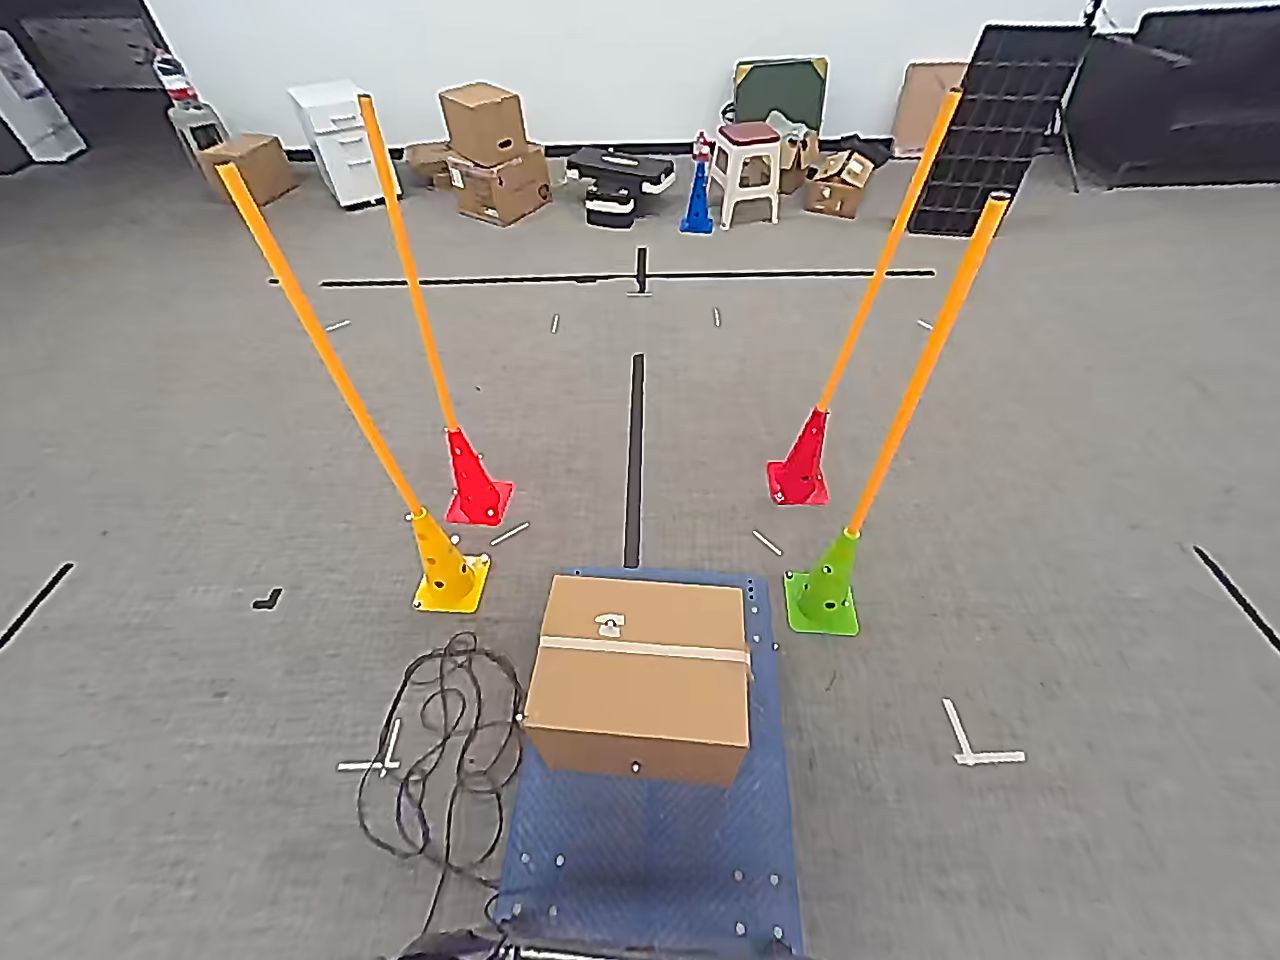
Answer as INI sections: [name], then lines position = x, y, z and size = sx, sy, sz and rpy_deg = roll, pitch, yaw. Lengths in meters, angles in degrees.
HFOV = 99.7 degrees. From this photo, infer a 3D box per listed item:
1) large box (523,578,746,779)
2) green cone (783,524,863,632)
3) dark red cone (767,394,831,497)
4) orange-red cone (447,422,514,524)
[large box]
position = 0.005, 0.431, 1.165
size = 0.408, 0.320, 0.320
rpy_deg = 3, 49, 5
[green cone]
position = 0.542, 0.250, 1.510
size = 0.202, 0.368, 0.200
rpy_deg = 4, 49, 3
[dark red cone]
position = 0.569, -0.124, 1.818
size = 0.201, 0.394, 0.202
rpy_deg = 1, 49, -1
[orange-red cone]
position = -0.562, -0.048, 1.793
size = 0.198, 0.360, 0.199
rpy_deg = 7, 47, 5
